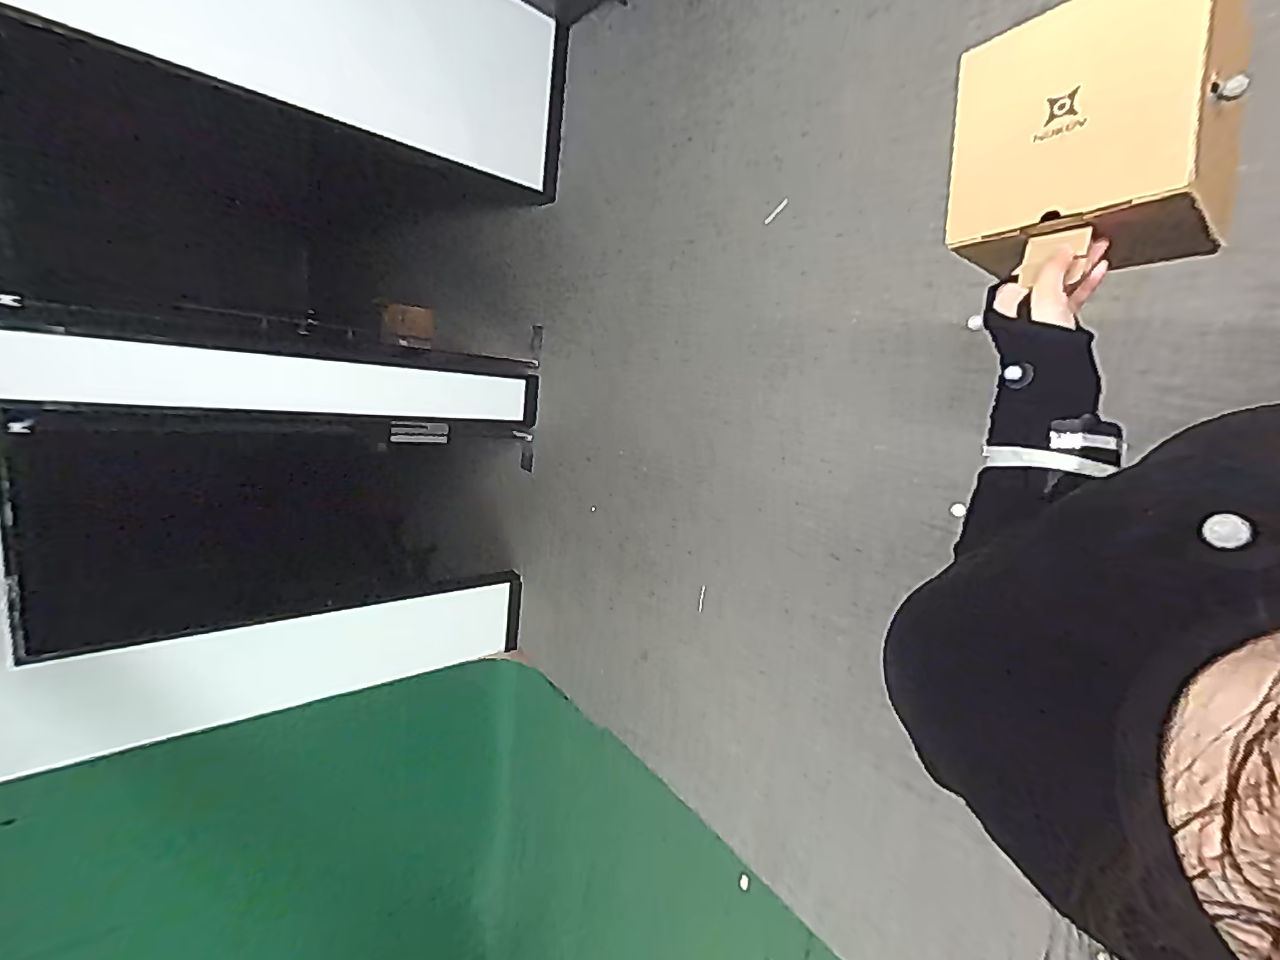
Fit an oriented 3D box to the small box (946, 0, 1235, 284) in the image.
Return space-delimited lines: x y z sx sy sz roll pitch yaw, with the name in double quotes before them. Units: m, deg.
"small box" 0.407 -0.298 0.492 0.168 0.176 0.179 8 97 51
